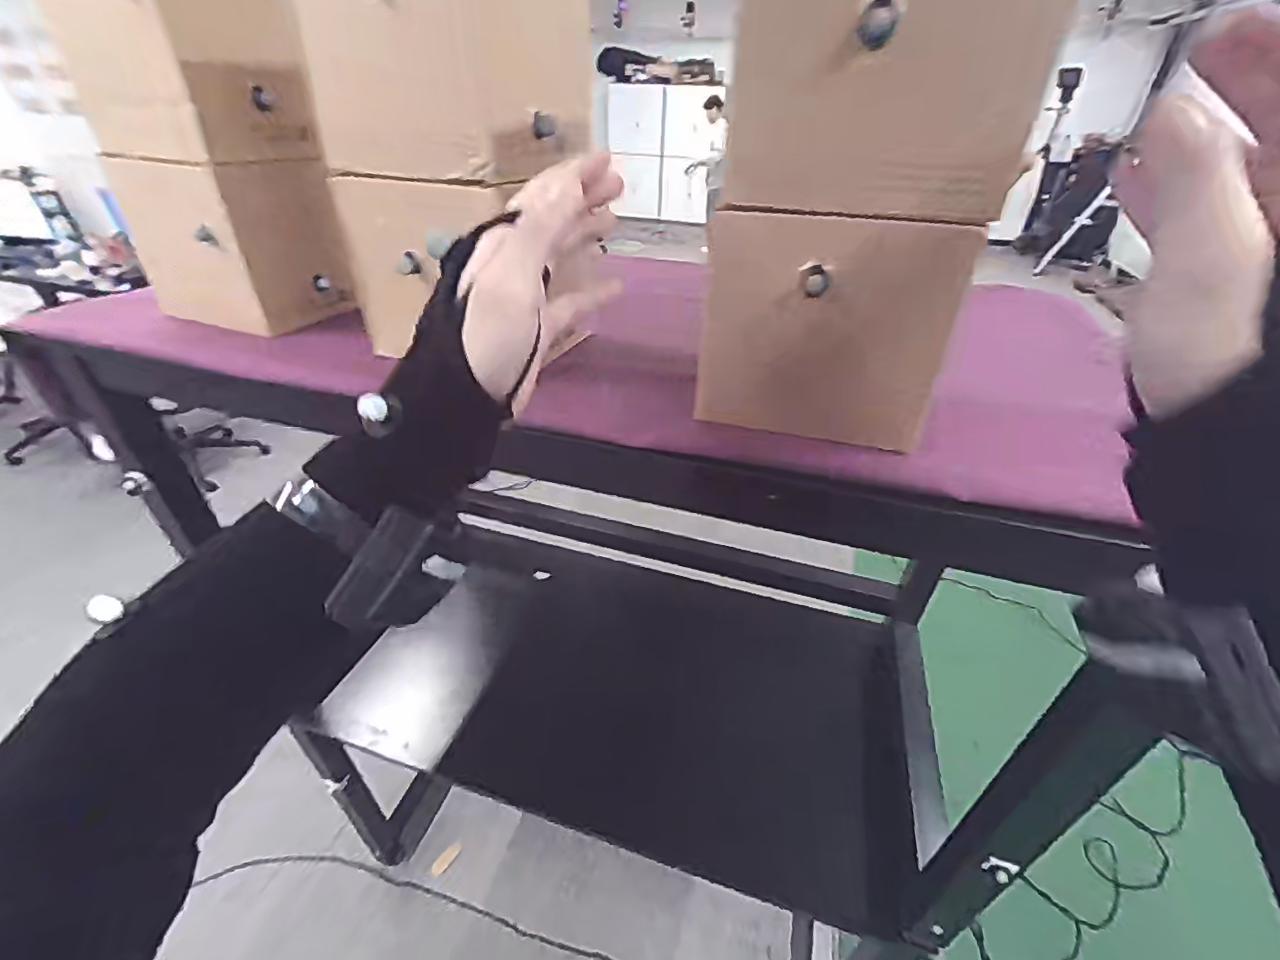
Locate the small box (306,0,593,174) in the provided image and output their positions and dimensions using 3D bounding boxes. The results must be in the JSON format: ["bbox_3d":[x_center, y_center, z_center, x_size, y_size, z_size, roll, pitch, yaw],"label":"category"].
[{"bbox_3d":[-0.153,-0.359,0.457,0.179,0.176,0.168,15,37,18],"label":"small box"}]

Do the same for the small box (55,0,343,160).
[{"bbox_3d":[-0.436,-0.428,0.549,0.179,0.176,0.168,16,36,17],"label":"small box"}]

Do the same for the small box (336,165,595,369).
[{"bbox_3d":[-0.158,-0.224,0.549,0.179,0.176,0.168,13,36,18],"label":"small box"}]

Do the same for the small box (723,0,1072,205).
[{"bbox_3d":[0.159,-0.286,0.357,0.179,0.176,0.168,9,36,14],"label":"small box"}]
